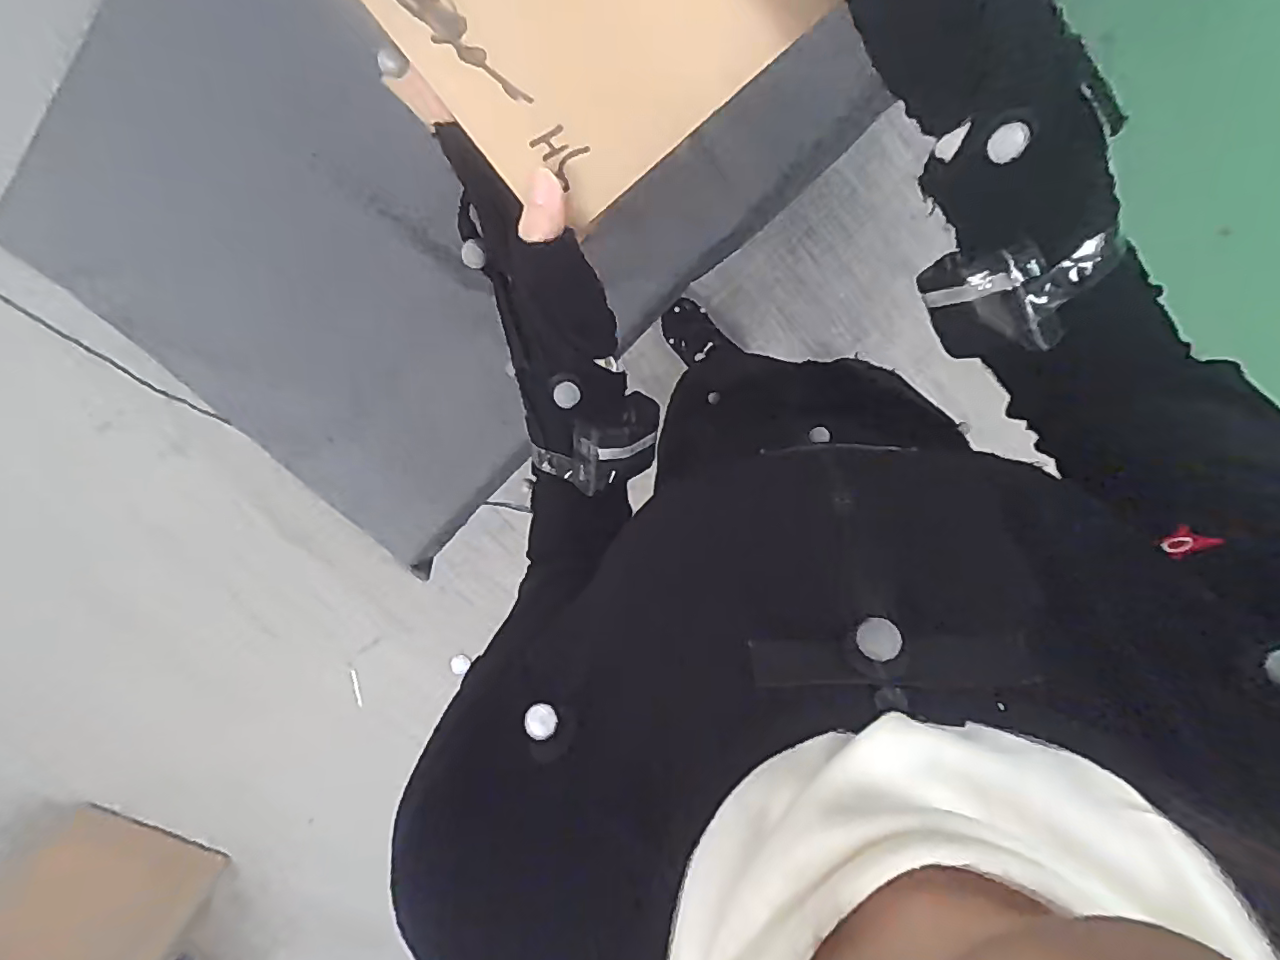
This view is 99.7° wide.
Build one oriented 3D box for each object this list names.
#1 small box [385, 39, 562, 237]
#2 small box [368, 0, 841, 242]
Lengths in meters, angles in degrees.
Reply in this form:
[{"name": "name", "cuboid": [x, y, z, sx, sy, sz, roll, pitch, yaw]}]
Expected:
[{"name": "small box", "cuboid": [-0.081, -0.351, 0.492, 0.168, 0.176, 0.179, 43, 107, -10]}, {"name": "small box", "cuboid": [-0.024, -0.258, 0.268, 0.179, 0.176, 0.168, -35, 120, 18]}]
